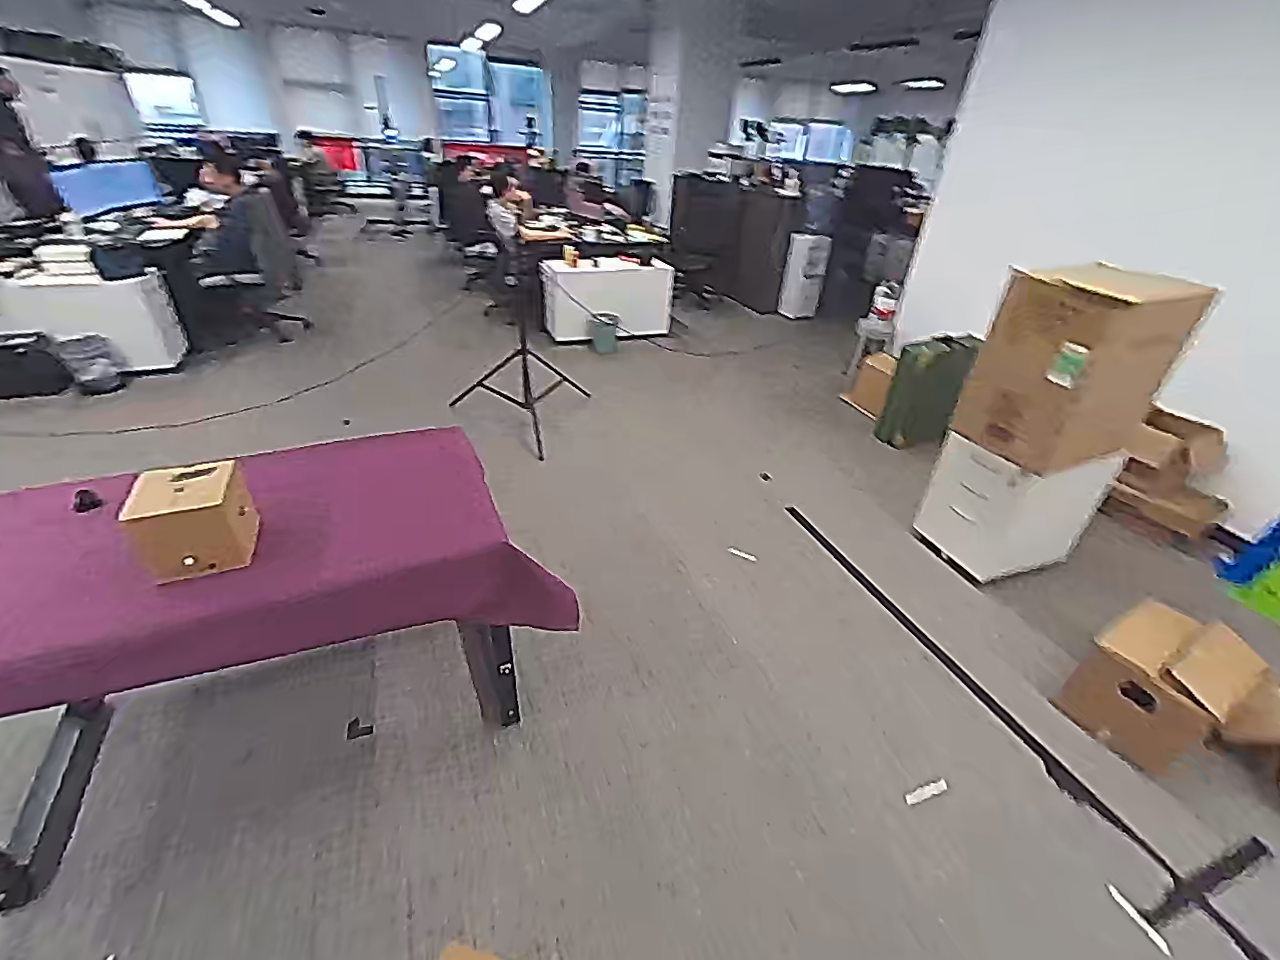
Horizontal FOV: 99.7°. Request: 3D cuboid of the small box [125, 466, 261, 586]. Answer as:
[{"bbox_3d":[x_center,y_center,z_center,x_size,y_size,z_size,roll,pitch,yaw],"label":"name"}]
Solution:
[{"bbox_3d":[-0.929,0.094,1.146,0.168,0.176,0.179,-11,36,-22],"label":"small box"}]
